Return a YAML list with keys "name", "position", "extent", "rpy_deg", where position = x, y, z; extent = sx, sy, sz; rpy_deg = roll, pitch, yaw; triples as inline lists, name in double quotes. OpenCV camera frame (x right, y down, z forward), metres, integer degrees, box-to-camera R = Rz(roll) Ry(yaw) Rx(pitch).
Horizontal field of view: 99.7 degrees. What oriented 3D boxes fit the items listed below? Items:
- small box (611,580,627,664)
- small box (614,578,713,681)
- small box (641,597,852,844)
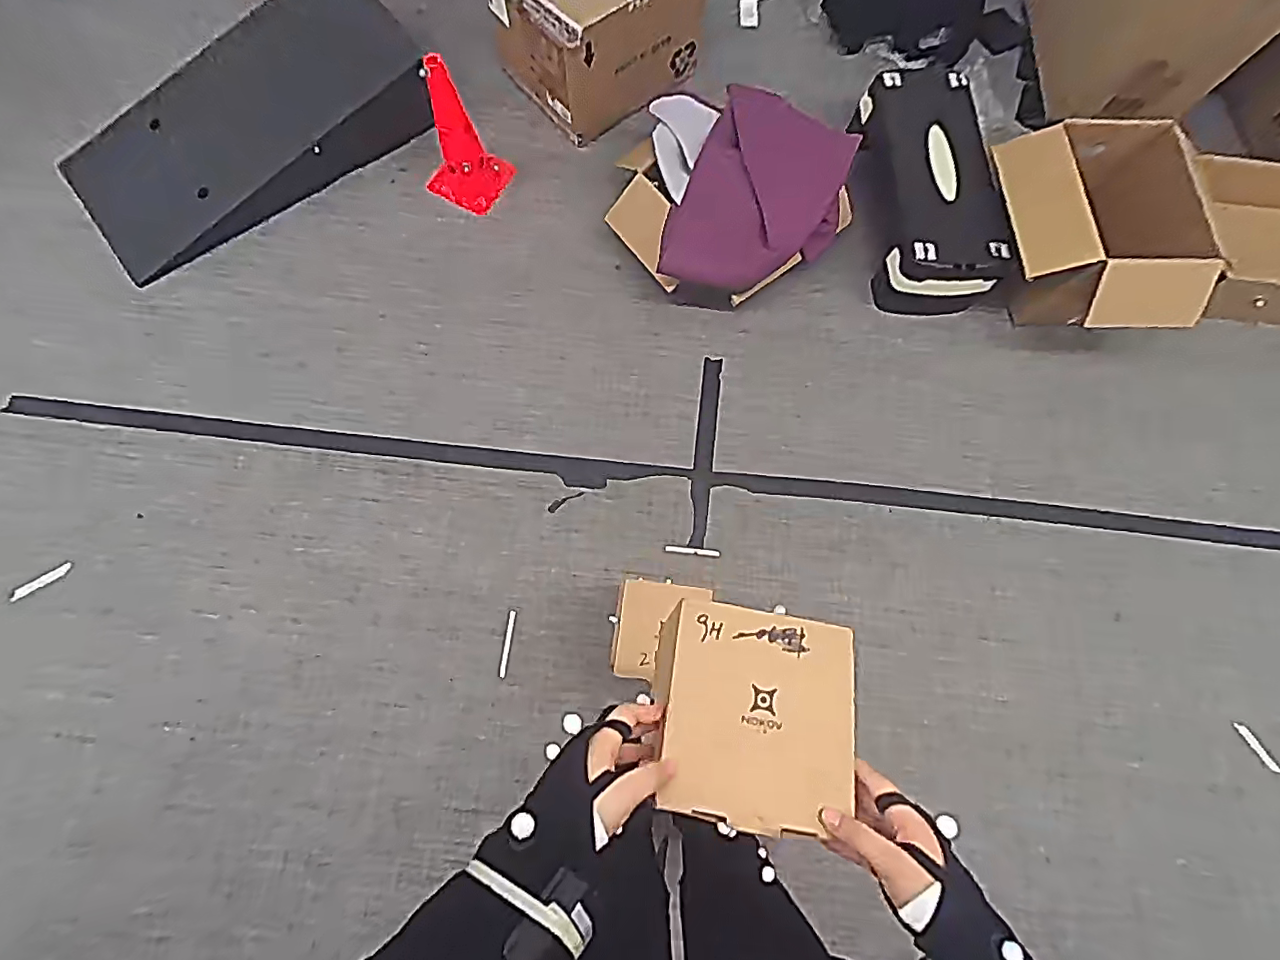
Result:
- name: "small box"
  position: [0.026, 0.327, 1.214]
  extent: [0.168, 0.176, 0.179]
  rpy_deg: [7, 76, 0]
- name: "small box"
  position: [0.040, 0.294, 1.052]
  extent: [0.168, 0.176, 0.179]
  rpy_deg: [7, 75, 0]
- name: "small box"
  position: [0.097, 0.235, 0.543]
  extent: [0.168, 0.176, 0.179]
  rpy_deg: [11, 65, -1]
